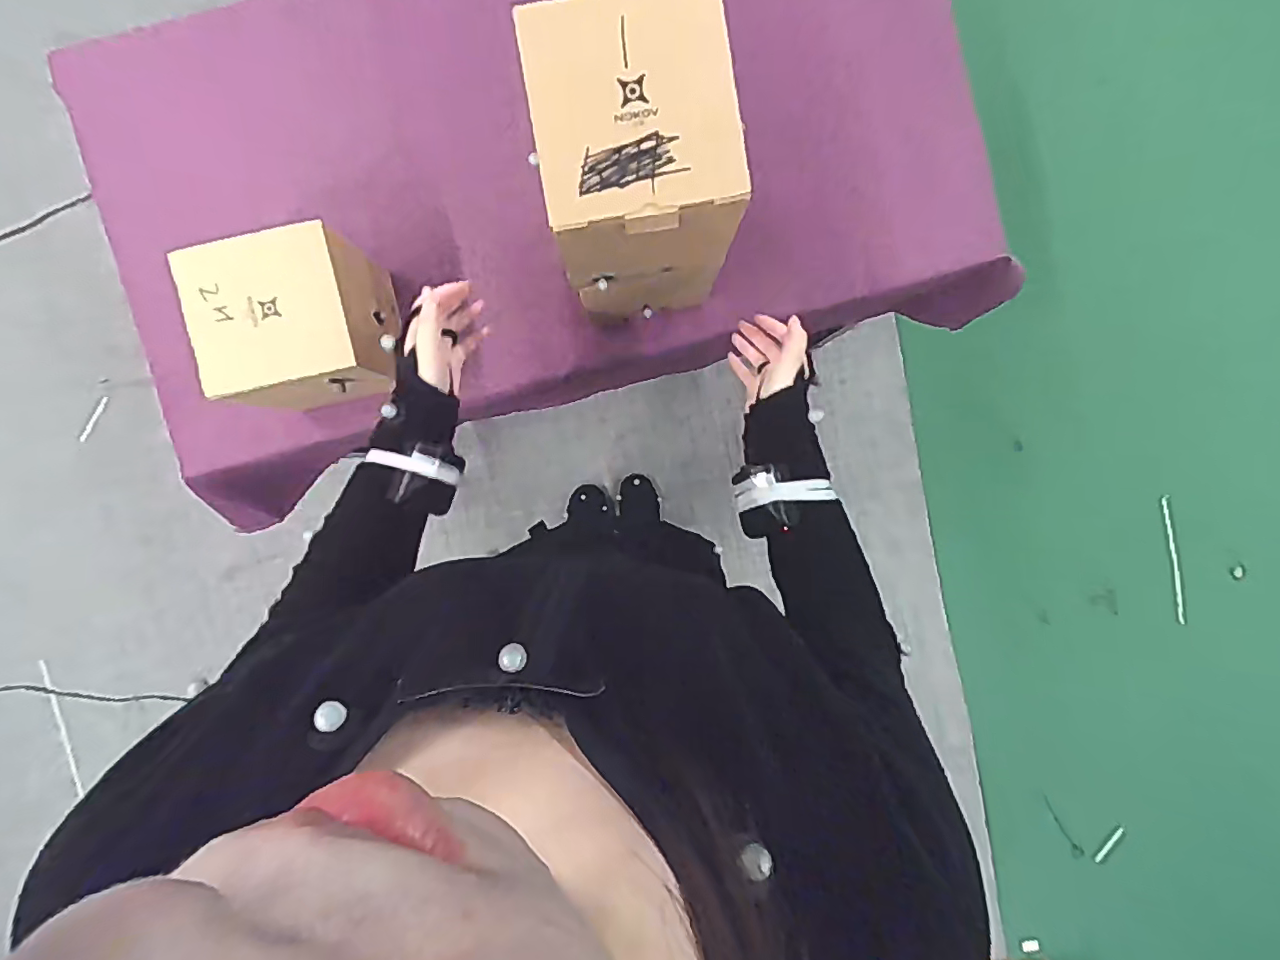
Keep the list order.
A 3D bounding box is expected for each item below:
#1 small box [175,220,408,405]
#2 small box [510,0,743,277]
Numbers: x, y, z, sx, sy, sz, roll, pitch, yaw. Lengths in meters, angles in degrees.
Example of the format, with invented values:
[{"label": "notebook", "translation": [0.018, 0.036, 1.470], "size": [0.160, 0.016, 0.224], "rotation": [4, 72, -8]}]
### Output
[{"label": "small box", "translation": [-0.415, -0.196, 0.681], "size": [0.179, 0.176, 0.168], "rotation": [-12, 92, 0]}, {"label": "small box", "translation": [-0.008, -0.305, 0.507], "size": [0.168, 0.176, 0.179], "rotation": [-9, 92, 1]}]
